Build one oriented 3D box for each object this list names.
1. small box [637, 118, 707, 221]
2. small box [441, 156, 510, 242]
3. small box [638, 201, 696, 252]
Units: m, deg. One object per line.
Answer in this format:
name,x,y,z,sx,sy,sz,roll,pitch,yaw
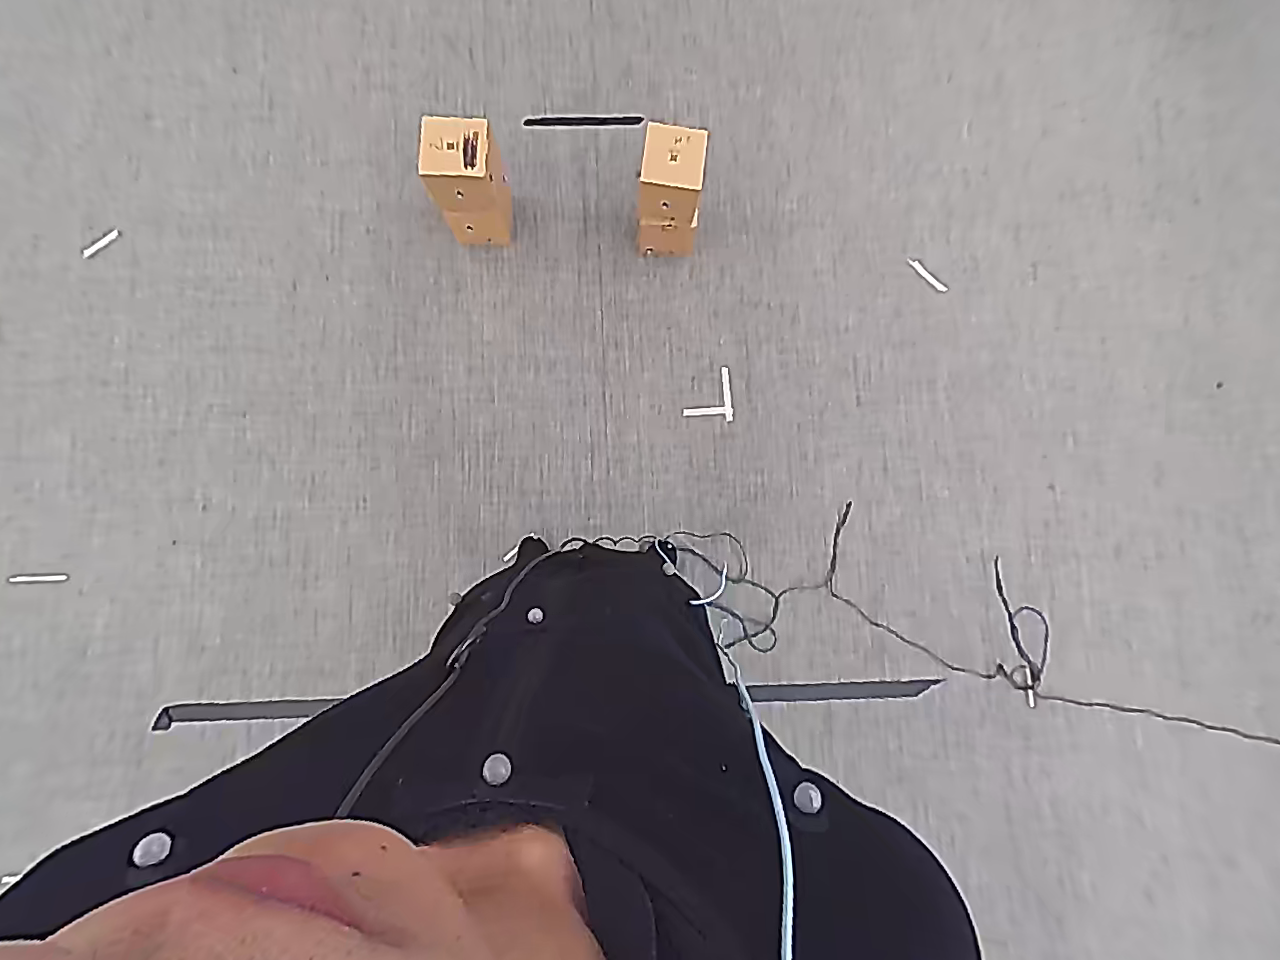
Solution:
small box,0.083,-0.854,1.503,0.168,0.176,0.179,8,84,-3
small box,-0.492,-0.846,1.640,0.168,0.176,0.179,0,84,-2
small box,0.081,-0.826,1.666,0.168,0.176,0.179,2,83,-3
